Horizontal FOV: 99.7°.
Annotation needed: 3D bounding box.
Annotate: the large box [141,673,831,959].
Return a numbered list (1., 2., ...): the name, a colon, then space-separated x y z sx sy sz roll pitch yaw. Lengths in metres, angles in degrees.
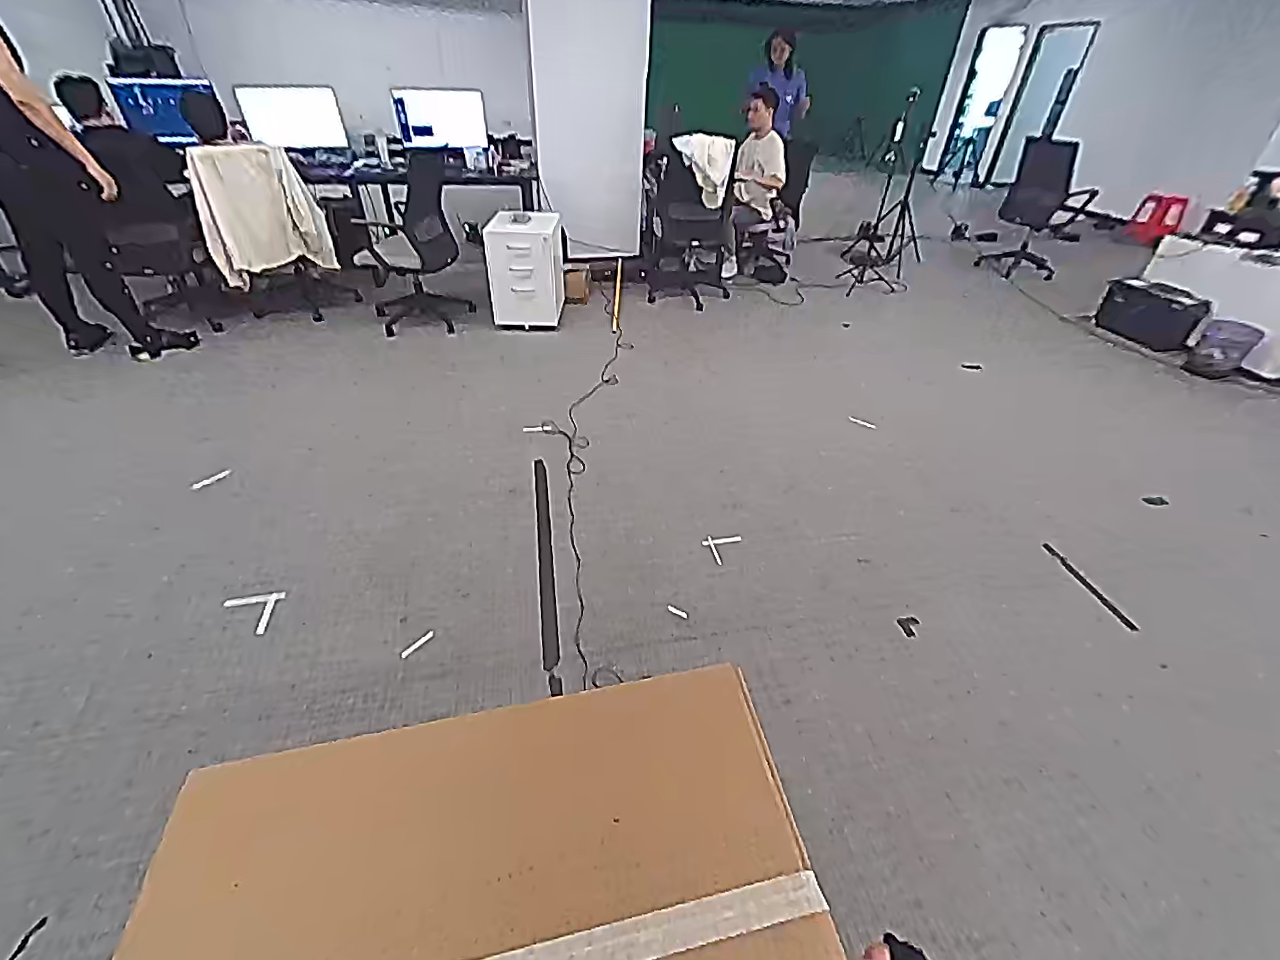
1. large box: -0.085 0.399 0.408 0.408 0.320 0.320 -9 42 -8
